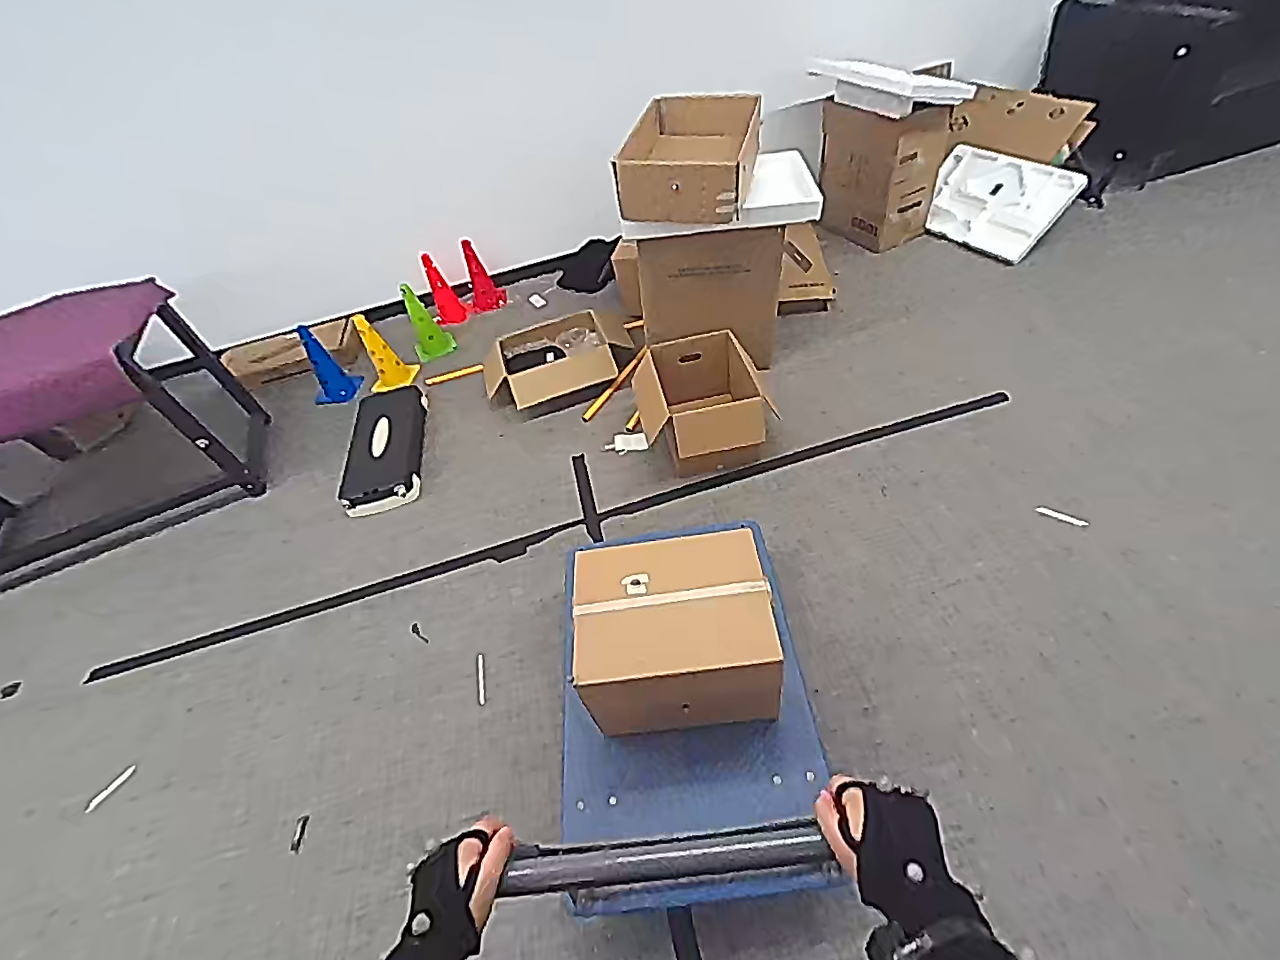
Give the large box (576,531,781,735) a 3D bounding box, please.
[{"bbox_3d":[0.085,0.358,1.243,0.408,0.320,0.320,-10,46,4],"label":"large box"}]
